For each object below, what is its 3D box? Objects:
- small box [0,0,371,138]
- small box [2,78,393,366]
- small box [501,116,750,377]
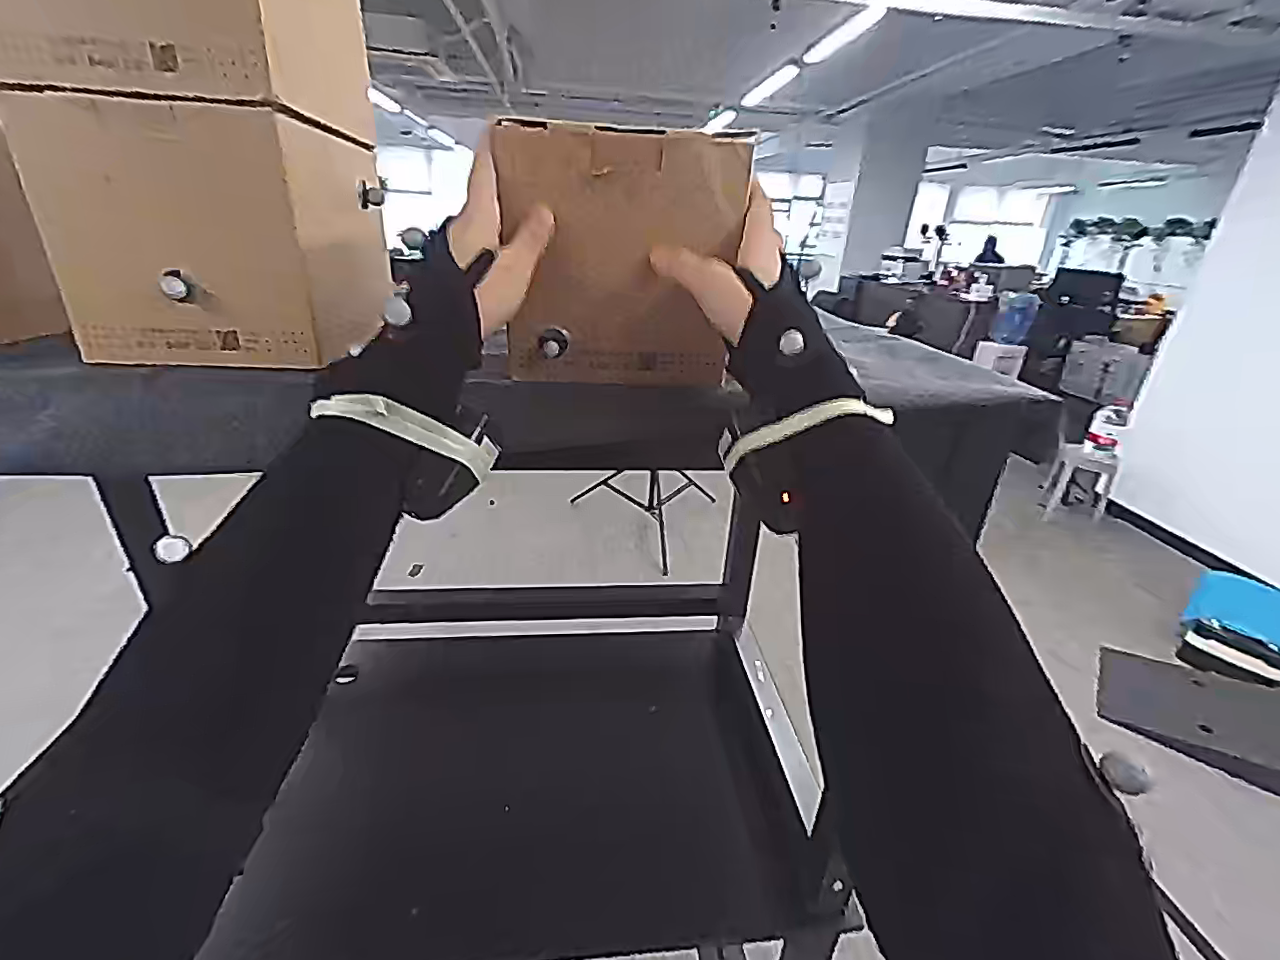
[{"bbox_3d":[-0.306,-0.347,0.375,0.168,0.176,0.179,1,24,-6],"label":"small box"},{"bbox_3d":[-0.315,-0.195,0.438,0.168,0.176,0.179,0,23,-5],"label":"small box"},{"bbox_3d":[-0.014,-0.187,0.454,0.168,0.176,0.179,1,24,-4],"label":"small box"}]
